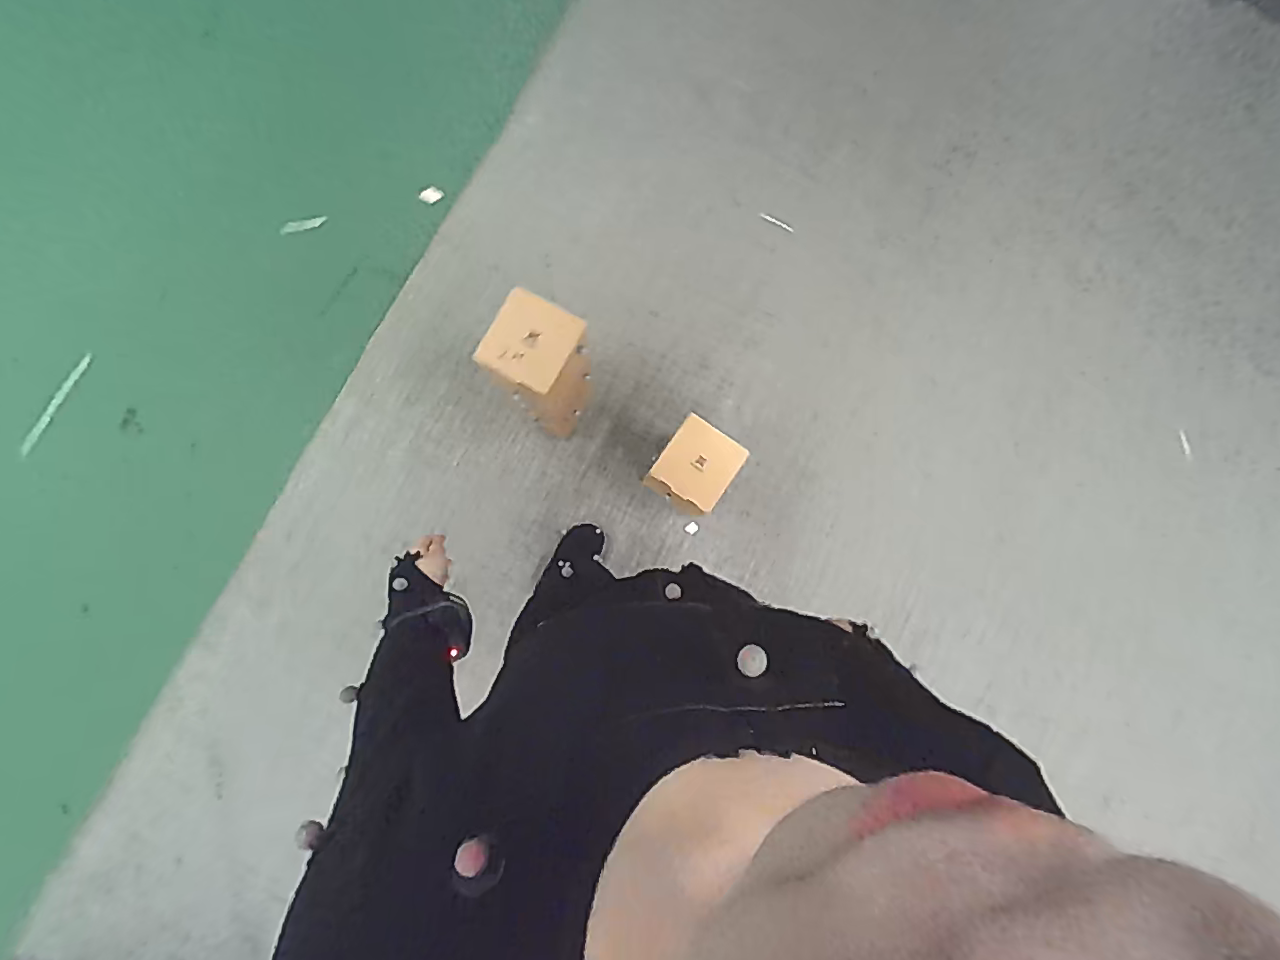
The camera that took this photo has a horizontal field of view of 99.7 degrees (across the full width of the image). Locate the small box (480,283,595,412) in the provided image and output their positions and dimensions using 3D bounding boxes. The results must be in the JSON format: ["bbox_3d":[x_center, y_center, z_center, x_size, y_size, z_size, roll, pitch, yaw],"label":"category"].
[{"bbox_3d":[-0.204,-0.269,1.134,0.168,0.176,0.179,29,83,2],"label":"small box"}]

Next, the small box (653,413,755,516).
[{"bbox_3d":[0.142,-0.030,1.288,0.168,0.176,0.179,35,84,2],"label":"small box"}]

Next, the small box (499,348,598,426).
[{"bbox_3d":[-0.211,-0.254,1.298,0.168,0.176,0.179,28,84,2],"label":"small box"}]

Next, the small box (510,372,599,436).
[{"bbox_3d":[-0.220,-0.239,1.460,0.168,0.176,0.179,32,84,1],"label":"small box"}]
